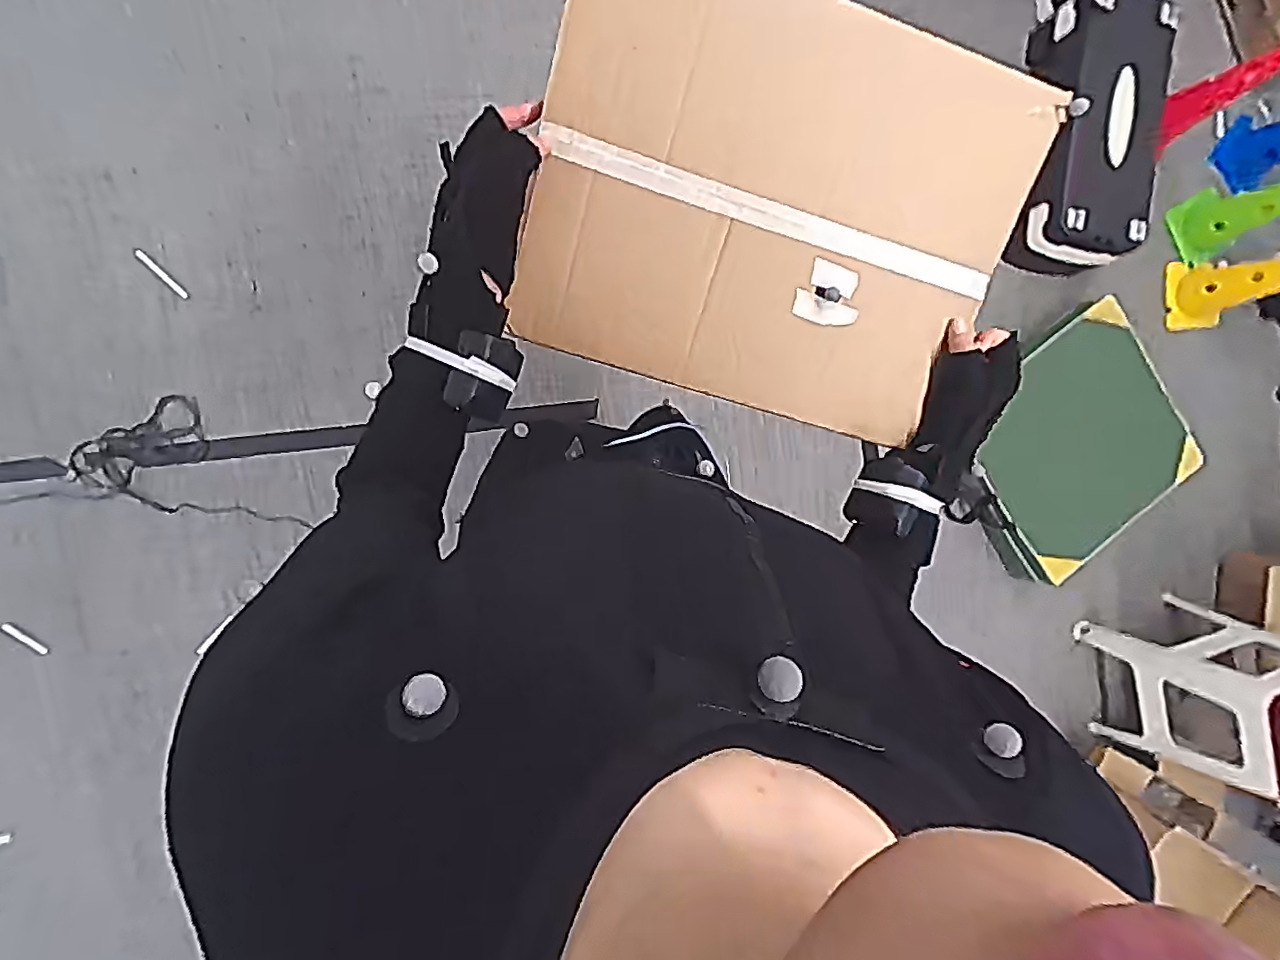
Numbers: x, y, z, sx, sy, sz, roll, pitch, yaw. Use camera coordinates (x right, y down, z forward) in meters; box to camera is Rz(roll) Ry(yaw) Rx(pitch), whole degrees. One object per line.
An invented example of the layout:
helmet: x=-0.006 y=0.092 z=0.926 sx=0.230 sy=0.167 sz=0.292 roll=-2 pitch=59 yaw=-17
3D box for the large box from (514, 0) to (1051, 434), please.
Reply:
large box: x=0.104 y=-0.278 z=0.607 sx=0.408 sy=0.320 sz=0.320 roll=15 pitch=108 yaw=-10
